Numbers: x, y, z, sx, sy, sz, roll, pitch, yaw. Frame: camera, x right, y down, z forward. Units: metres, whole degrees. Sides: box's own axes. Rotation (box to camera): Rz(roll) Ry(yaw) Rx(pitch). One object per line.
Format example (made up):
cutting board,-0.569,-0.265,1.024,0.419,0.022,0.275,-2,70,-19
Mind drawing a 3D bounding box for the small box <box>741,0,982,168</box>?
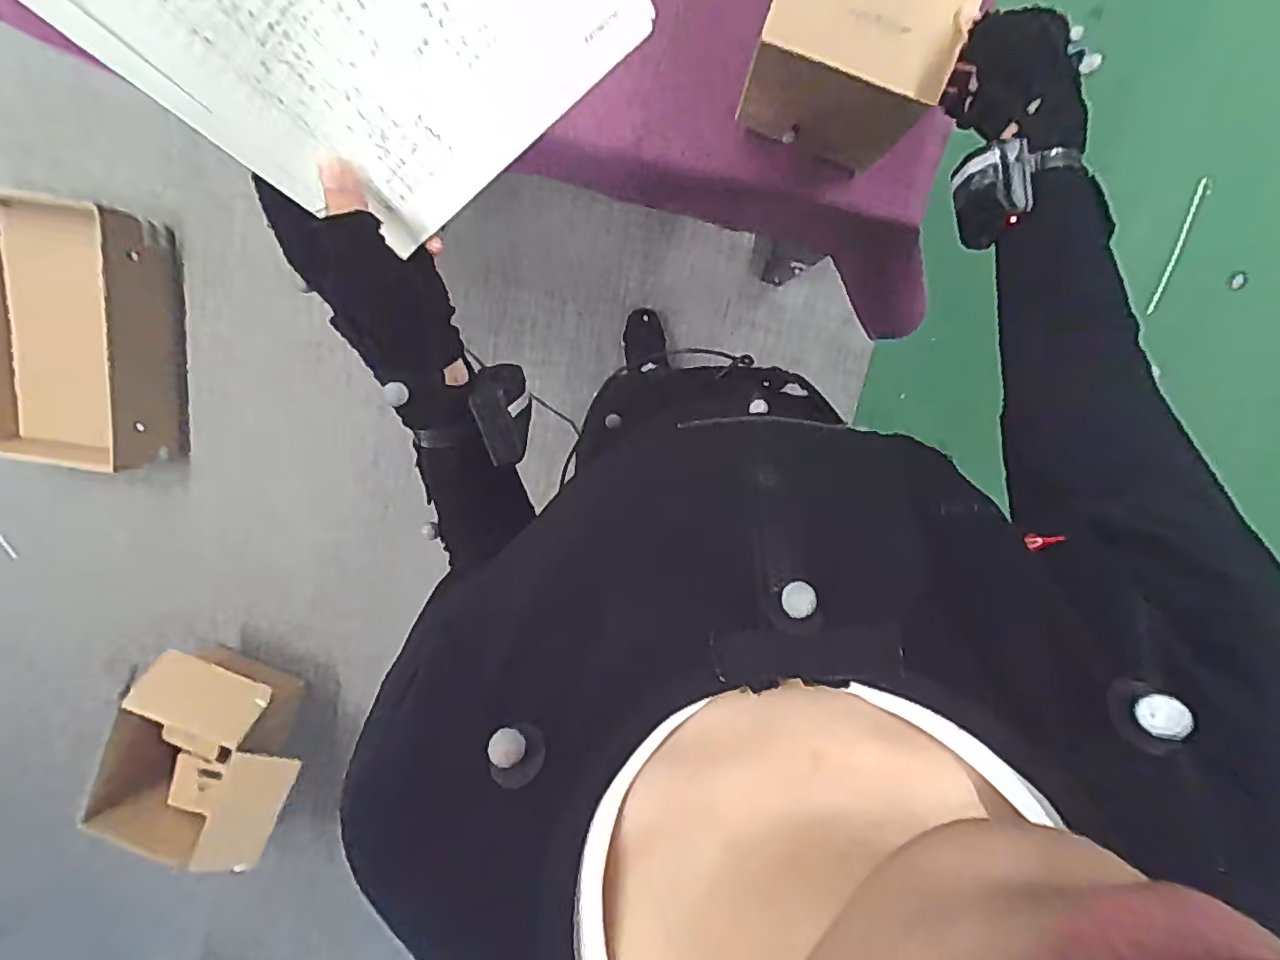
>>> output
small box,0.210,-0.444,0.521,0.168,0.176,0.179,20,102,-2
